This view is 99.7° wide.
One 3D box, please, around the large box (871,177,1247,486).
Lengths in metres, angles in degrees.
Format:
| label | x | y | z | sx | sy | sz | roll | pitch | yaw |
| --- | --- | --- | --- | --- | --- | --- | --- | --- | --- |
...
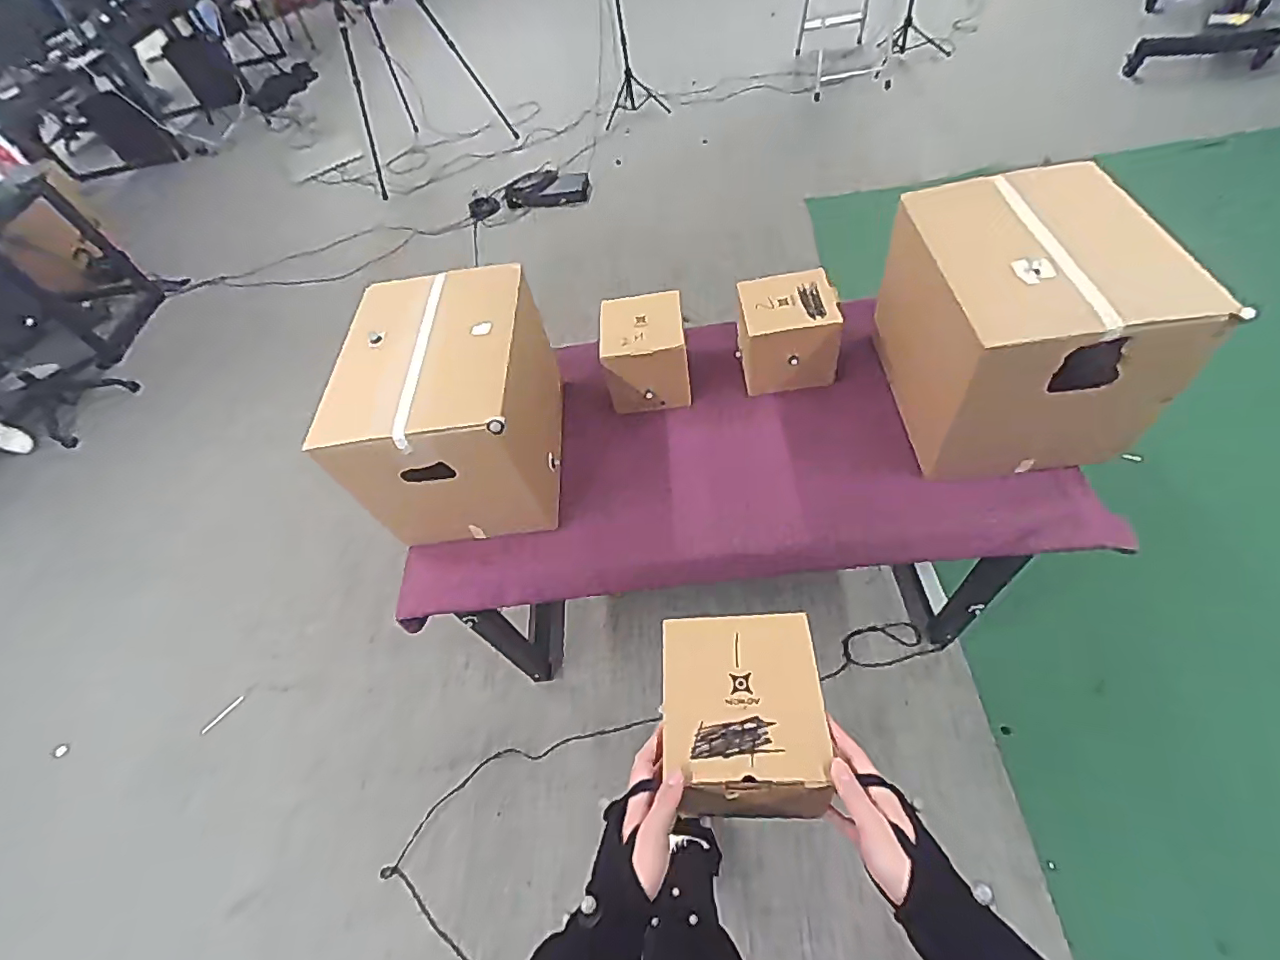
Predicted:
| label | x | y | z | sx | sy | sz | roll | pitch | yaw |
| --- | --- | --- | --- | --- | --- | --- | --- | --- | --- |
| large box | 0.631 | -0.247 | 0.928 | 0.320 | 0.320 | 0.408 | -7 | 54 | 8 |

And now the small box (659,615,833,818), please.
| label | x | y | z | sx | sy | sz | roll | pitch | yaw |
| --- | --- | --- | --- | --- | --- | --- | --- | --- | --- |
| small box | 0.116 | 0.275 | 0.621 | 0.168 | 0.176 | 0.179 | -4 | 47 | 8 |

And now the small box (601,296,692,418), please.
| label | x | y | z | sx | sy | sz | roll | pitch | yaw |
| --- | --- | --- | --- | --- | --- | --- | --- | --- | --- |
| small box | 0.018 | -0.255 | 1.137 | 0.168 | 0.176 | 0.179 | -7 | 54 | 8 |
